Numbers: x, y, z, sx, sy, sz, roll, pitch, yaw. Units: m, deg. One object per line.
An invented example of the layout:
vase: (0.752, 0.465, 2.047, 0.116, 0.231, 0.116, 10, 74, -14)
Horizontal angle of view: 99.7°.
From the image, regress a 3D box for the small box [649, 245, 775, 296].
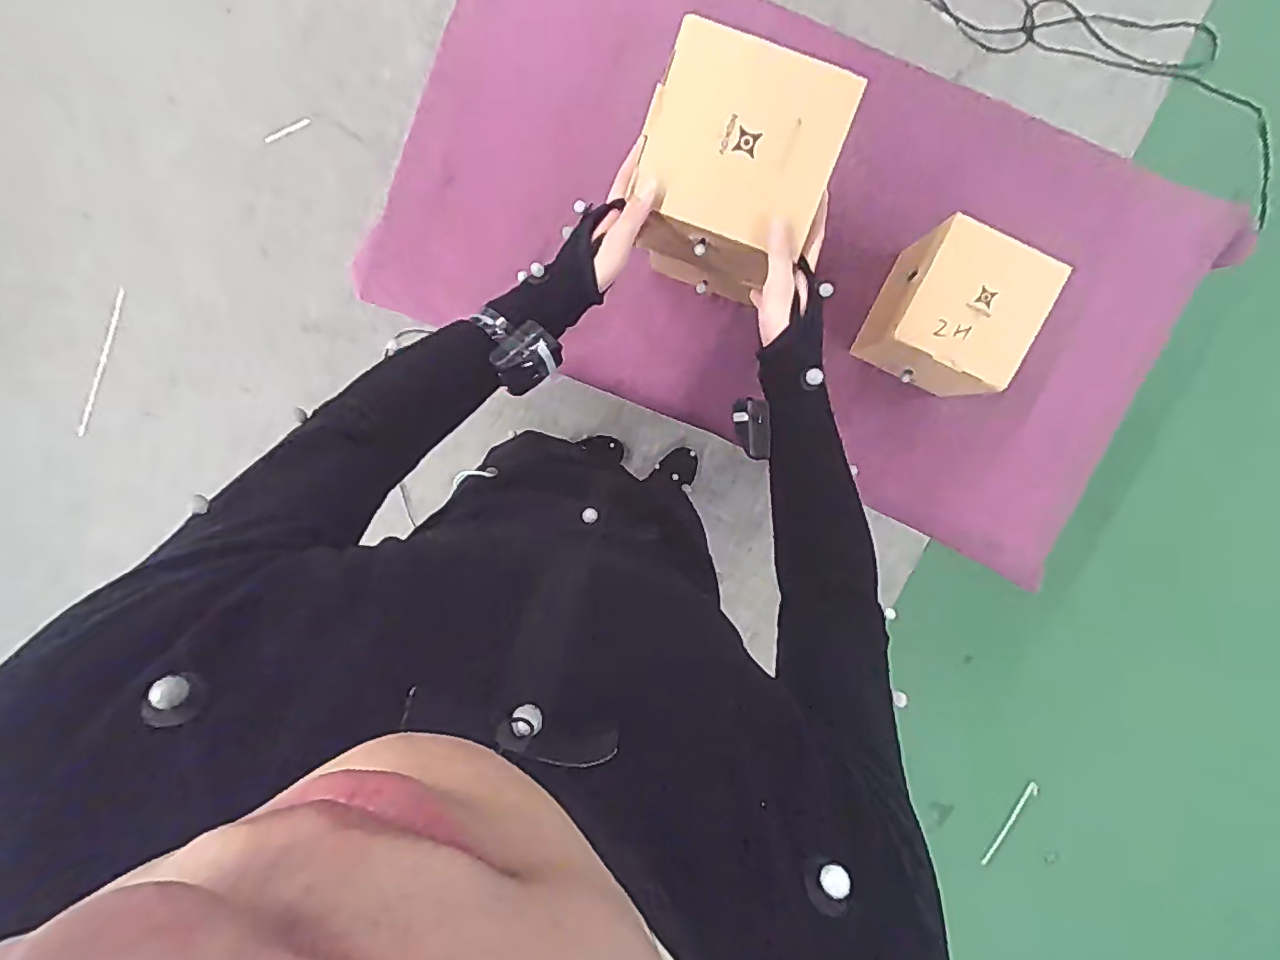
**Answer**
small box: (0.120, -0.377, 0.769, 0.179, 0.176, 0.168, 20, 97, 0)

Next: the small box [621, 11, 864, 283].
small box: (0.095, -0.324, 0.569, 0.179, 0.176, 0.168, 21, 101, 0)

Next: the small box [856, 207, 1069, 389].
small box: (0.439, -0.244, 0.772, 0.168, 0.176, 0.179, 26, 97, 0)
